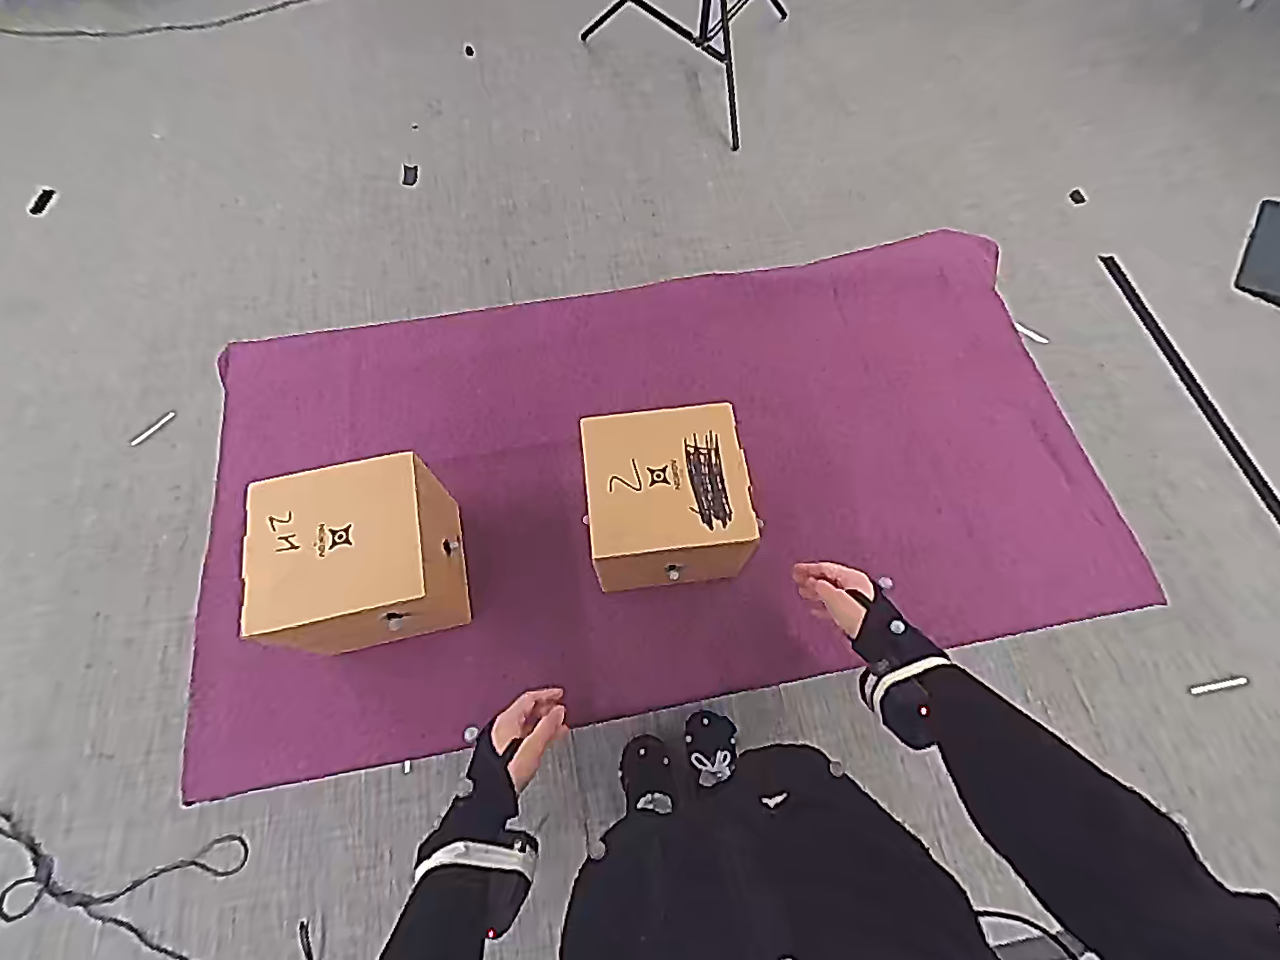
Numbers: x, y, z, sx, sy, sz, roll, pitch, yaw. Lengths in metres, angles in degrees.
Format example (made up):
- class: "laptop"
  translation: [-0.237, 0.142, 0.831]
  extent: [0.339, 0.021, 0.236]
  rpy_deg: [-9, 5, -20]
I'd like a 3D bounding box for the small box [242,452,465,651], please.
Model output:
- class: "small box"
  translation: [-0.310, 0.090, 0.623]
  extent: [0.179, 0.176, 0.168]
  rpy_deg: [-12, 67, -5]
